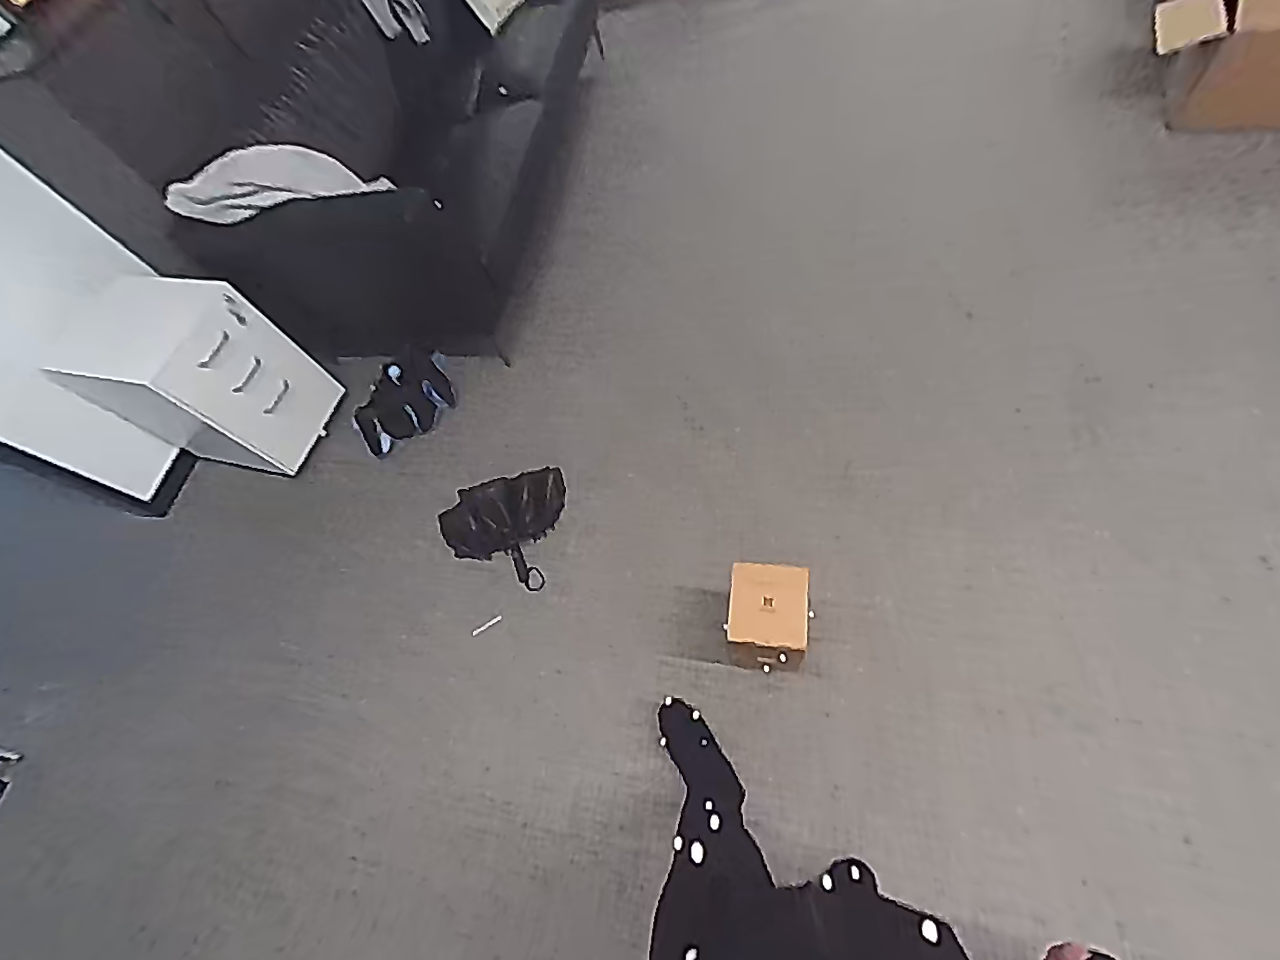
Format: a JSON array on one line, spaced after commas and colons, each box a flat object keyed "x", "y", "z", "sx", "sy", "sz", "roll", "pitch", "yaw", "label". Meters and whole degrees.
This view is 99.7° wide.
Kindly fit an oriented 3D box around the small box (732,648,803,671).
[{"x": 0.323, "y": 0.373, "z": 1.356, "sx": 0.168, "sy": 0.176, "sz": 0.179, "roll": 2, "pitch": 64, "yaw": 14, "label": "small box"}]

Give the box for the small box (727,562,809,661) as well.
[{"x": 0.290, "y": 0.299, "z": 1.216, "sx": 0.168, "sy": 0.176, "sz": 0.179, "roll": 2, "pitch": 62, "yaw": 14, "label": "small box"}]
